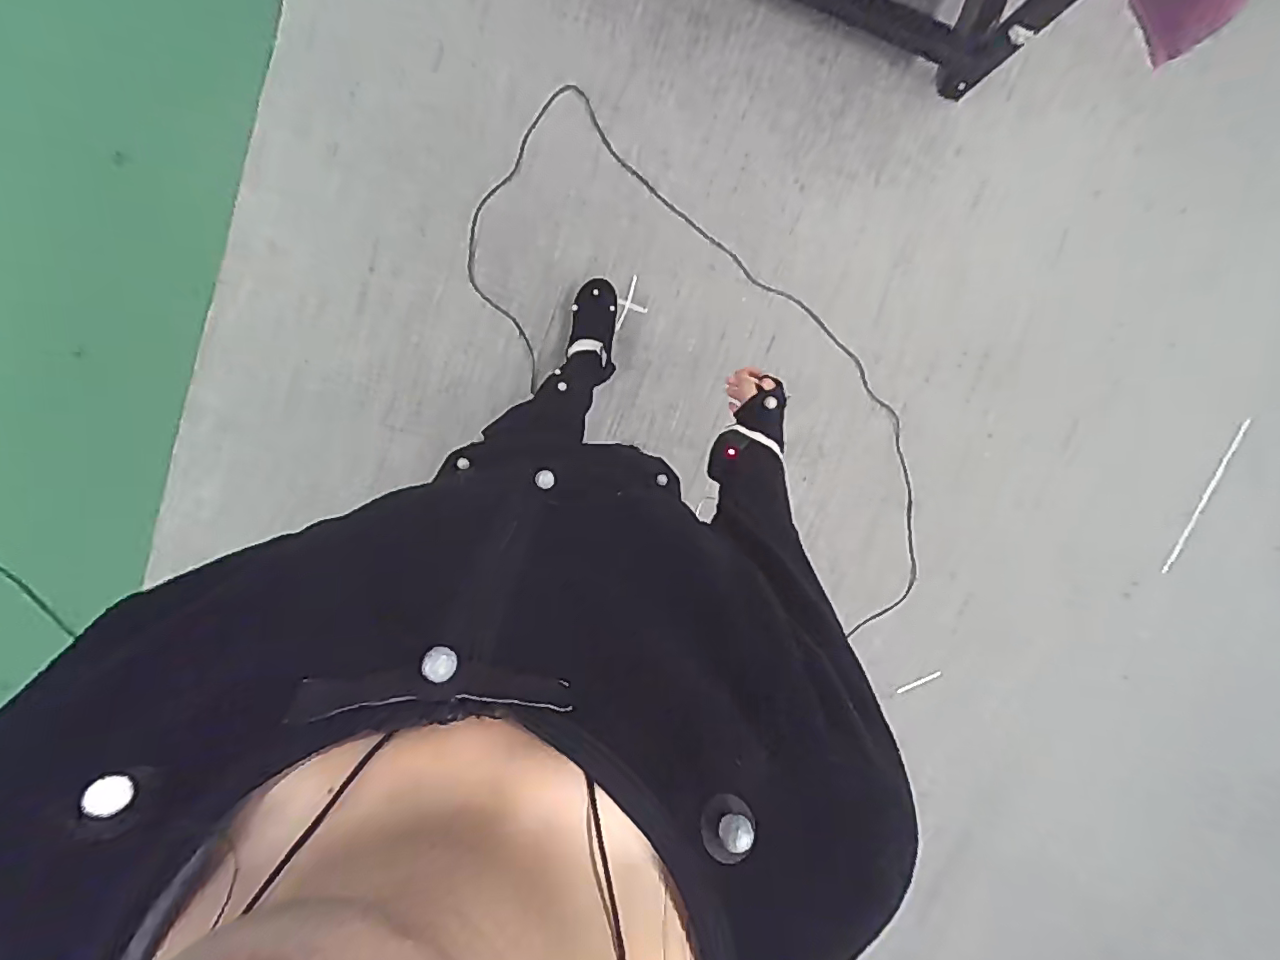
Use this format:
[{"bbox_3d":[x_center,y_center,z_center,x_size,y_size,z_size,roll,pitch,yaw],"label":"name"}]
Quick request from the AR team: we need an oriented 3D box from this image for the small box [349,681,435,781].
[{"bbox_3d":[-0.683,0.675,1.473,0.179,0.176,0.168,15,98,-3],"label":"small box"}]

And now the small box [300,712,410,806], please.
[{"bbox_3d":[-0.683,0.684,1.310,0.179,0.176,0.168,-1,98,-1],"label":"small box"}]

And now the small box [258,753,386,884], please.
[{"bbox_3d":[-0.668,0.709,1.148,0.179,0.176,0.168,6,99,-2],"label":"small box"}]
